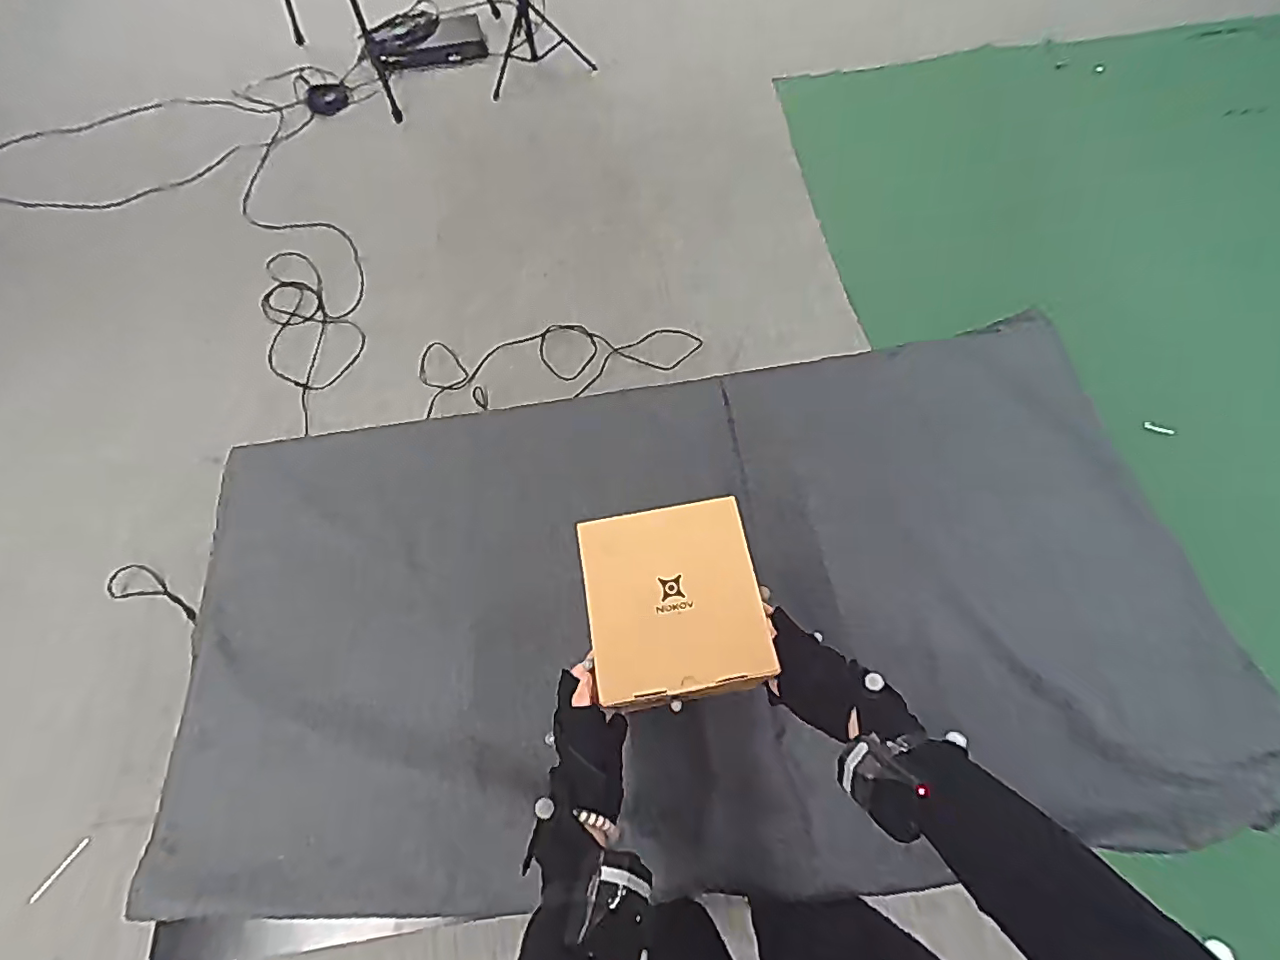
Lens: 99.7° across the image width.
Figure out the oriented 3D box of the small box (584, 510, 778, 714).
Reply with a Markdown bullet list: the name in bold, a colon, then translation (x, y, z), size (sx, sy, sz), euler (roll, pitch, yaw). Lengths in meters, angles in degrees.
- **small box**: translation (0.036, 0.154, 0.600), size (0.168, 0.176, 0.179), euler (-10, 67, -2)
